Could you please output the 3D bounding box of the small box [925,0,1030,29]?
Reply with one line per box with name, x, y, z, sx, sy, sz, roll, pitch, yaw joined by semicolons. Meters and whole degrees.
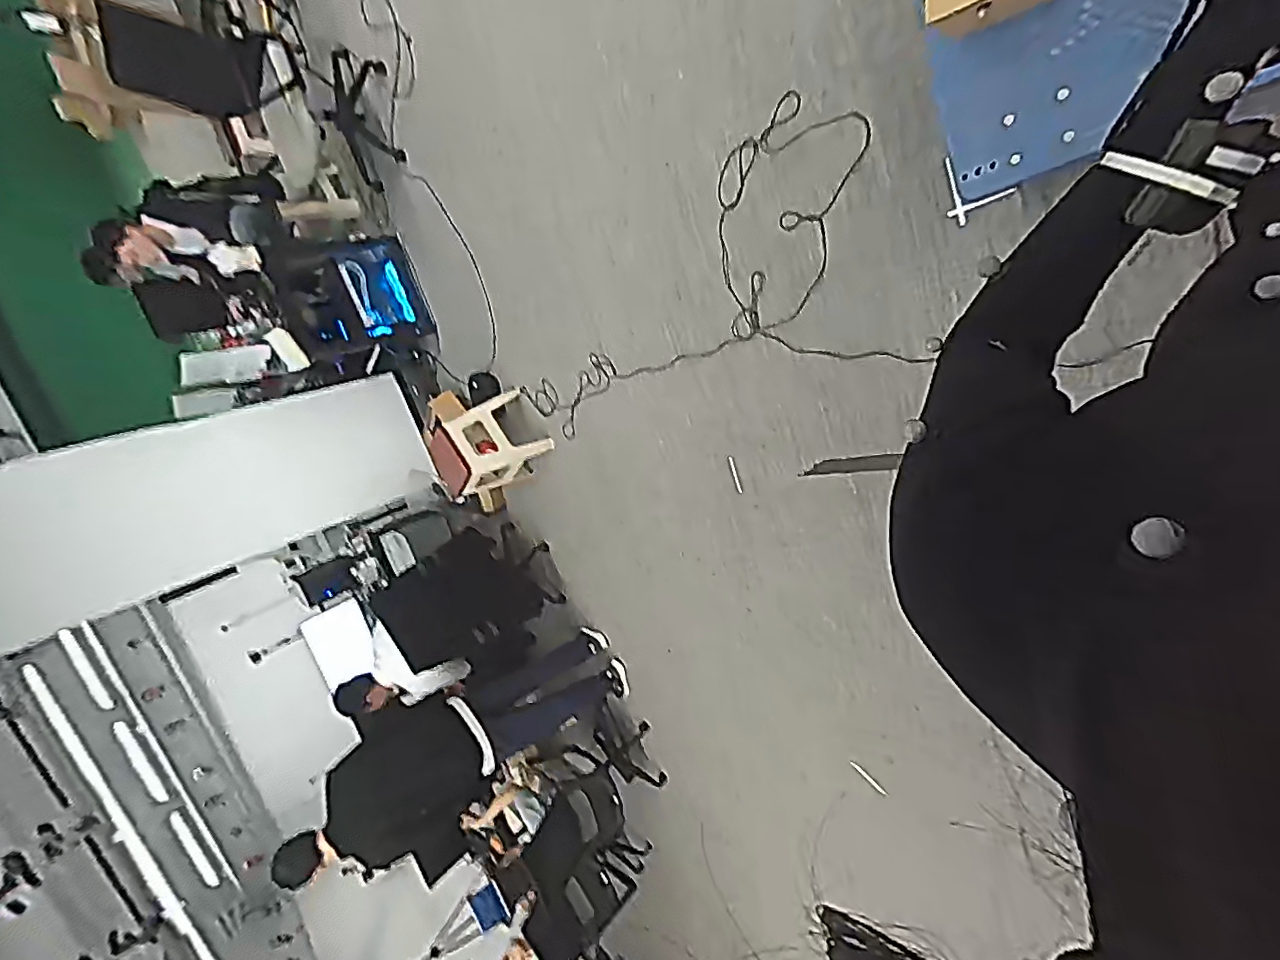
small box;0.574;-0.863;0.862;0.179;0.176;0.168;6;117;44
